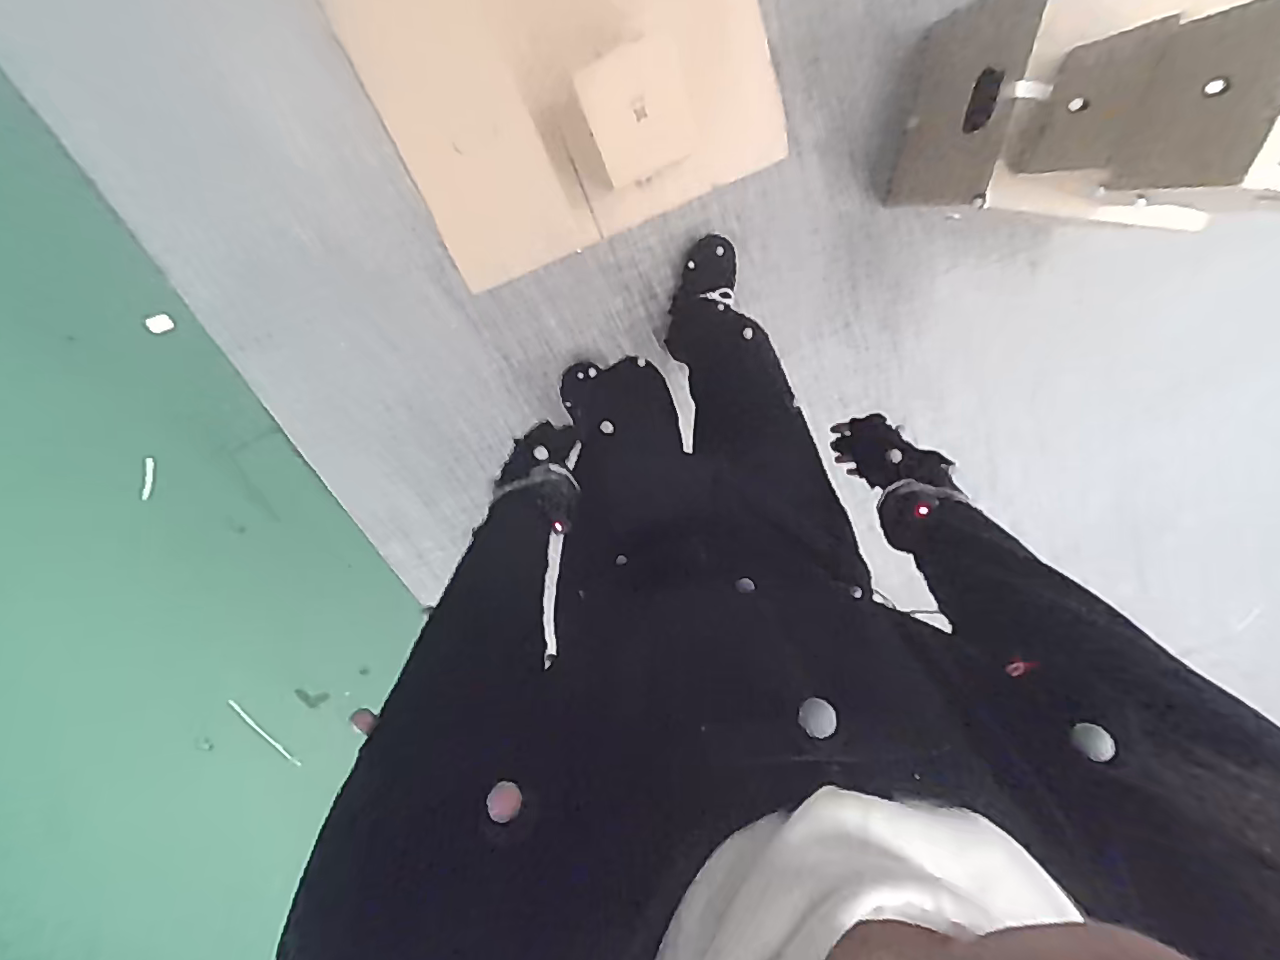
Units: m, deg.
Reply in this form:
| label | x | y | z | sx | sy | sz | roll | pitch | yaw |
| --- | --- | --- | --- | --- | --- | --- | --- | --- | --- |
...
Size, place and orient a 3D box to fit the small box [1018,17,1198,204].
| label | x | y | z | sx | sy | sz | roll | pitch | yaw |
| --- | --- | --- | --- | --- | --- | --- | --- | --- | --- |
| small box | 0.680 | -0.489 | 0.747 | 0.179 | 0.176 | 0.168 | 8 | 113 | -9 |

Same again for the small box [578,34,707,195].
| label | x | y | z | sx | sy | sz | roll | pitch | yaw |
| --- | --- | --- | --- | --- | --- | --- | --- | --- | --- |
| small box | 0.002 | -0.623 | 0.950 | 0.168 | 0.176 | 0.179 | -22 | 116 | 8 |

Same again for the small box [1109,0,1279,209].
| label | x | y | z | sx | sy | sz | roll | pitch | yaw |
| --- | --- | --- | --- | --- | --- | --- | --- | --- | --- |
| small box | 0.689 | -0.405 | 0.603 | 0.168 | 0.176 | 0.179 | 3 | 117 | -6 |
